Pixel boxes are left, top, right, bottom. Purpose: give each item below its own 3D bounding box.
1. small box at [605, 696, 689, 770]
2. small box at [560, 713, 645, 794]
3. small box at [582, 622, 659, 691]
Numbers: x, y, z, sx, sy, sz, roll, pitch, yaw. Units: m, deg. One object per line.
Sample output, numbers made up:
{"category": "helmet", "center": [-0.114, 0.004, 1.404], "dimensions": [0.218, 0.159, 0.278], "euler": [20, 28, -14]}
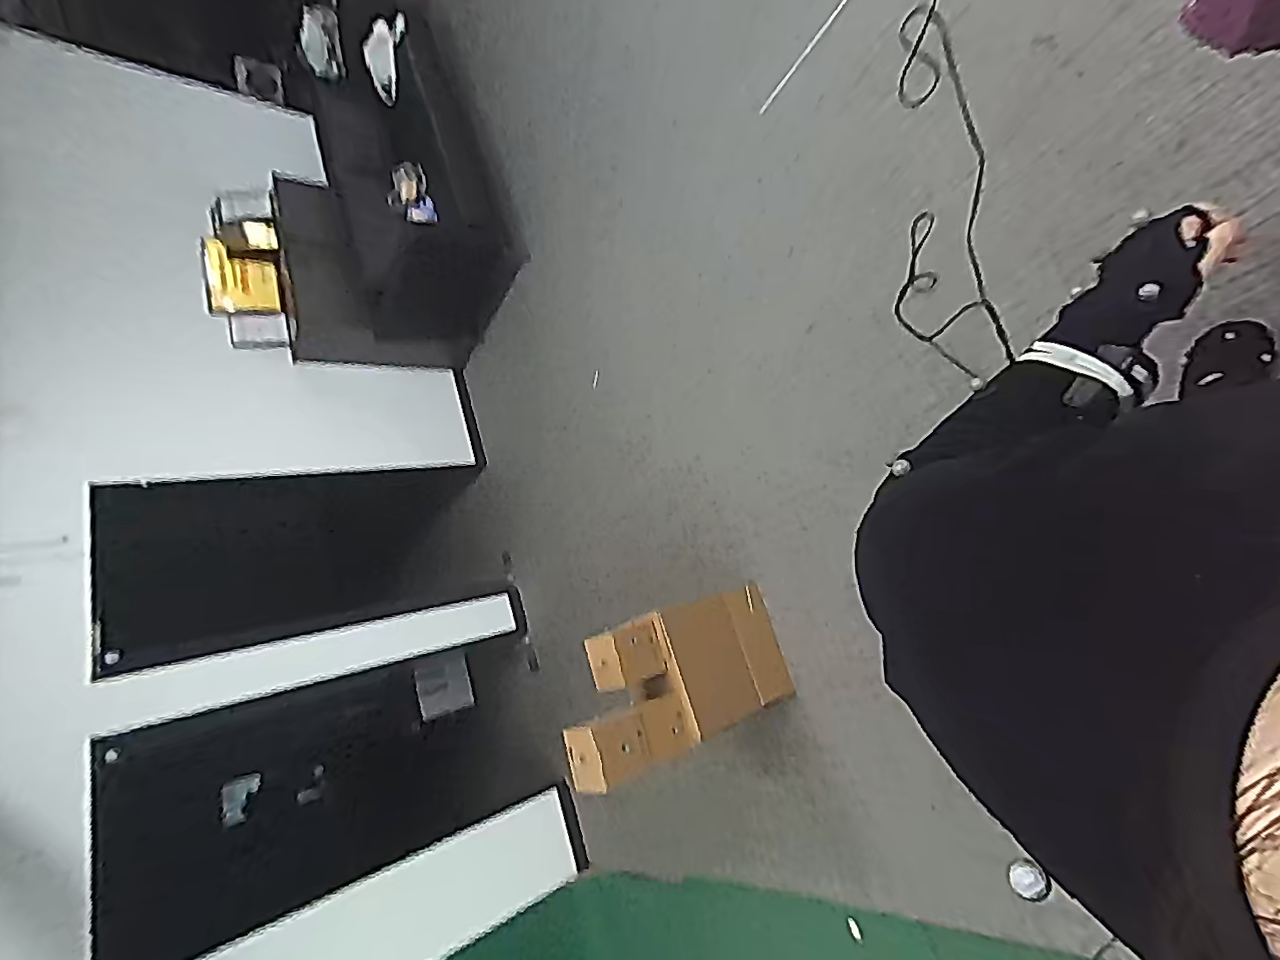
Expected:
{"category": "small box", "center": [0.021, 0.778, 1.665], "dimensions": [0.179, 0.176, 0.168], "euler": [-35, 65, 45]}
{"category": "small box", "center": [-0.103, 0.783, 1.558], "dimensions": [0.179, 0.176, 0.168], "euler": [-34, 66, 45]}
{"category": "small box", "center": [-0.058, 0.568, 1.741], "dimensions": [0.179, 0.176, 0.168], "euler": [-33, 69, 49]}
